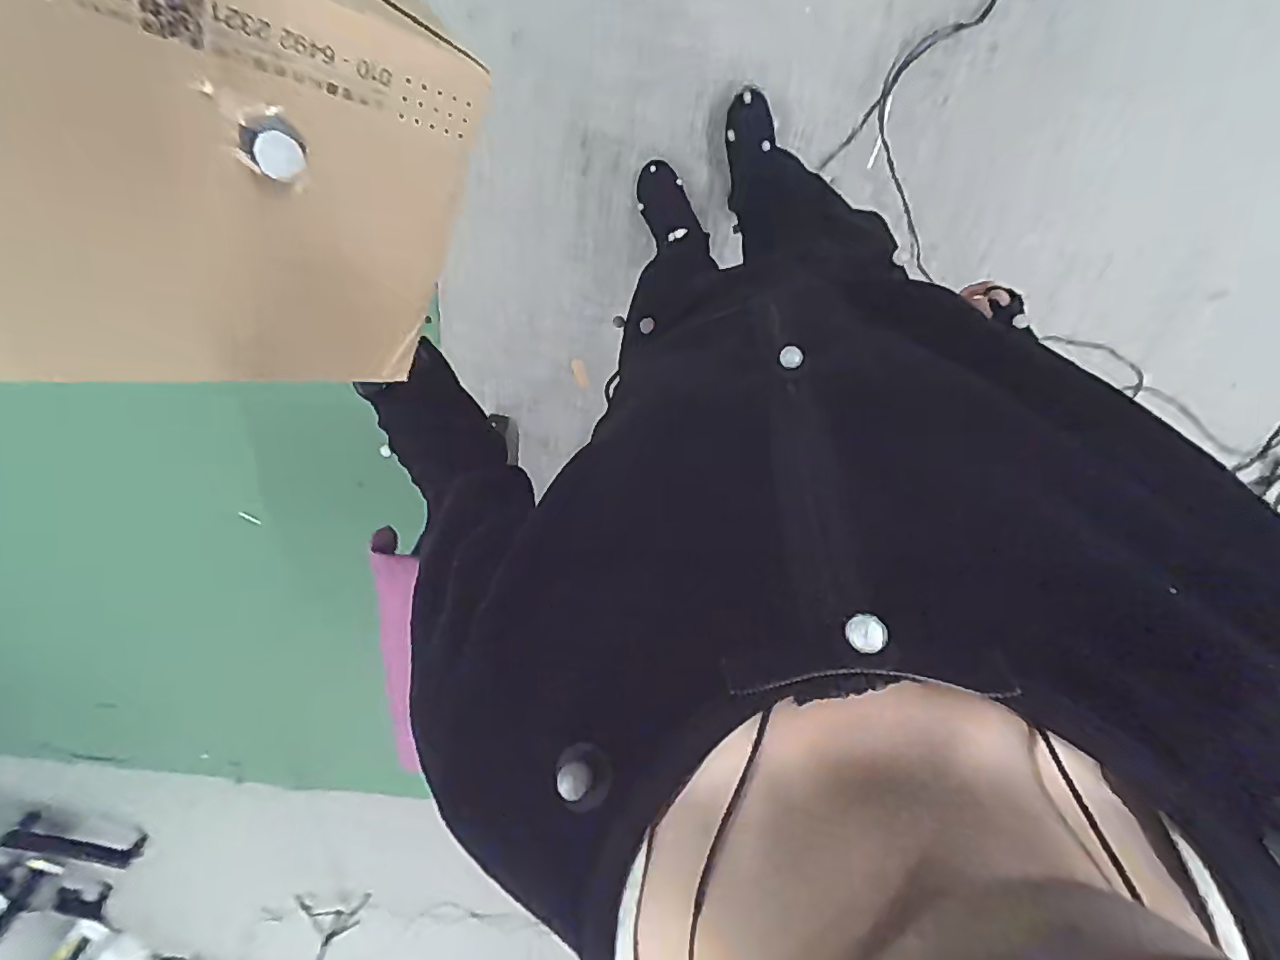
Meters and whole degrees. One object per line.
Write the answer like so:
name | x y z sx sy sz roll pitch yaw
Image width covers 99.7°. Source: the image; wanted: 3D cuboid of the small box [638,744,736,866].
small box | 0.092 0.696 1.164 0.179 0.176 0.168 7 120 -4

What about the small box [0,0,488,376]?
small box | -0.192 -0.169 0.239 0.168 0.179 0.176 -10 146 -46
